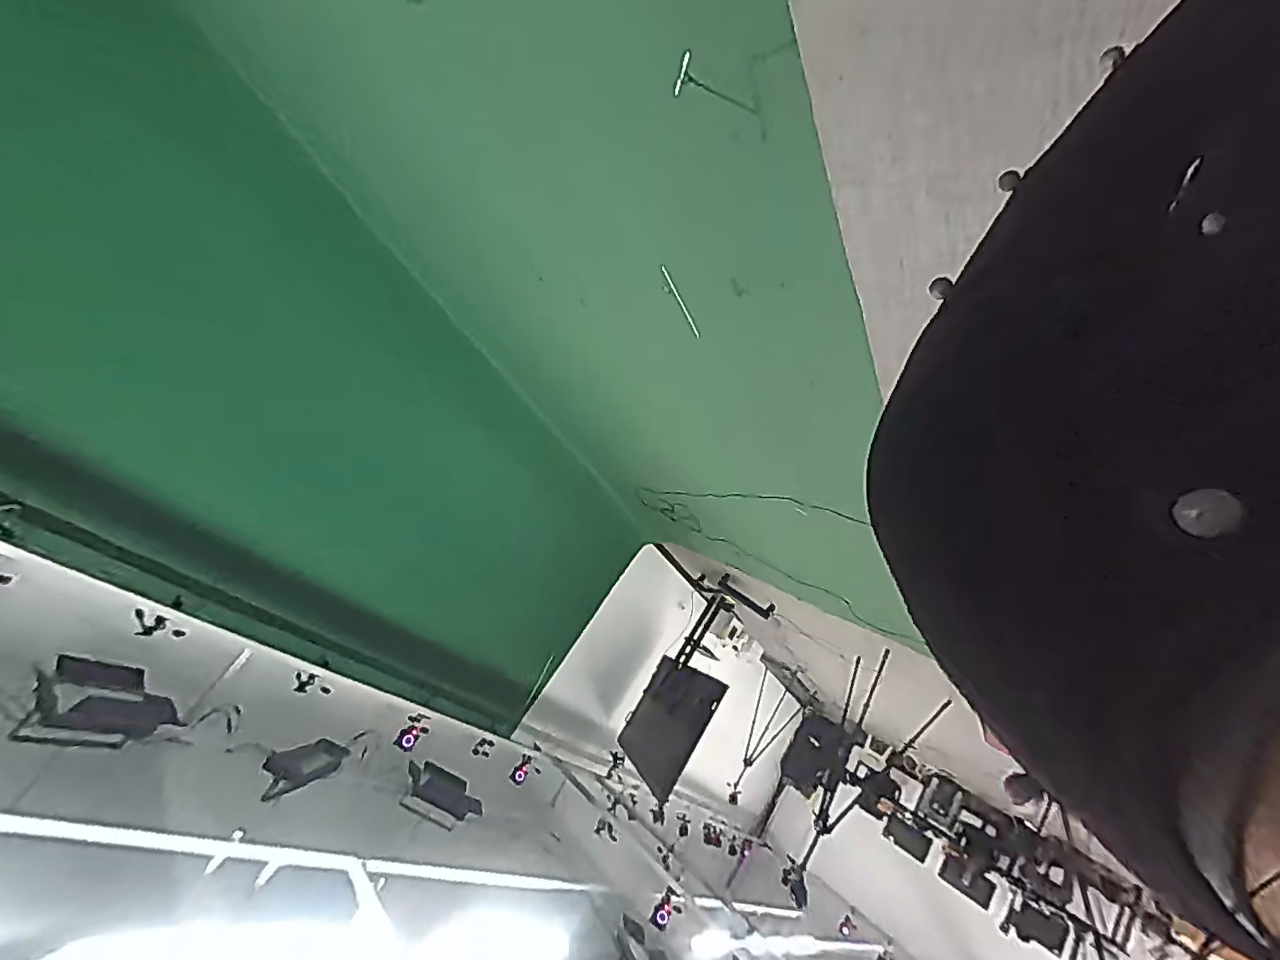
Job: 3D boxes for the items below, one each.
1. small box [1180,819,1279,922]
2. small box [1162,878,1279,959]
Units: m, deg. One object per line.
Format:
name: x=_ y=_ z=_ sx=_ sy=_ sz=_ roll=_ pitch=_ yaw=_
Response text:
small box: x=1.674 y=1.094 z=1.517 sx=0.179 sy=0.176 sz=0.168 roll=20 pitch=158 yaw=44
small box: x=1.579 y=1.220 z=1.470 sx=0.179 sy=0.176 sz=0.168 roll=20 pitch=159 yaw=42
